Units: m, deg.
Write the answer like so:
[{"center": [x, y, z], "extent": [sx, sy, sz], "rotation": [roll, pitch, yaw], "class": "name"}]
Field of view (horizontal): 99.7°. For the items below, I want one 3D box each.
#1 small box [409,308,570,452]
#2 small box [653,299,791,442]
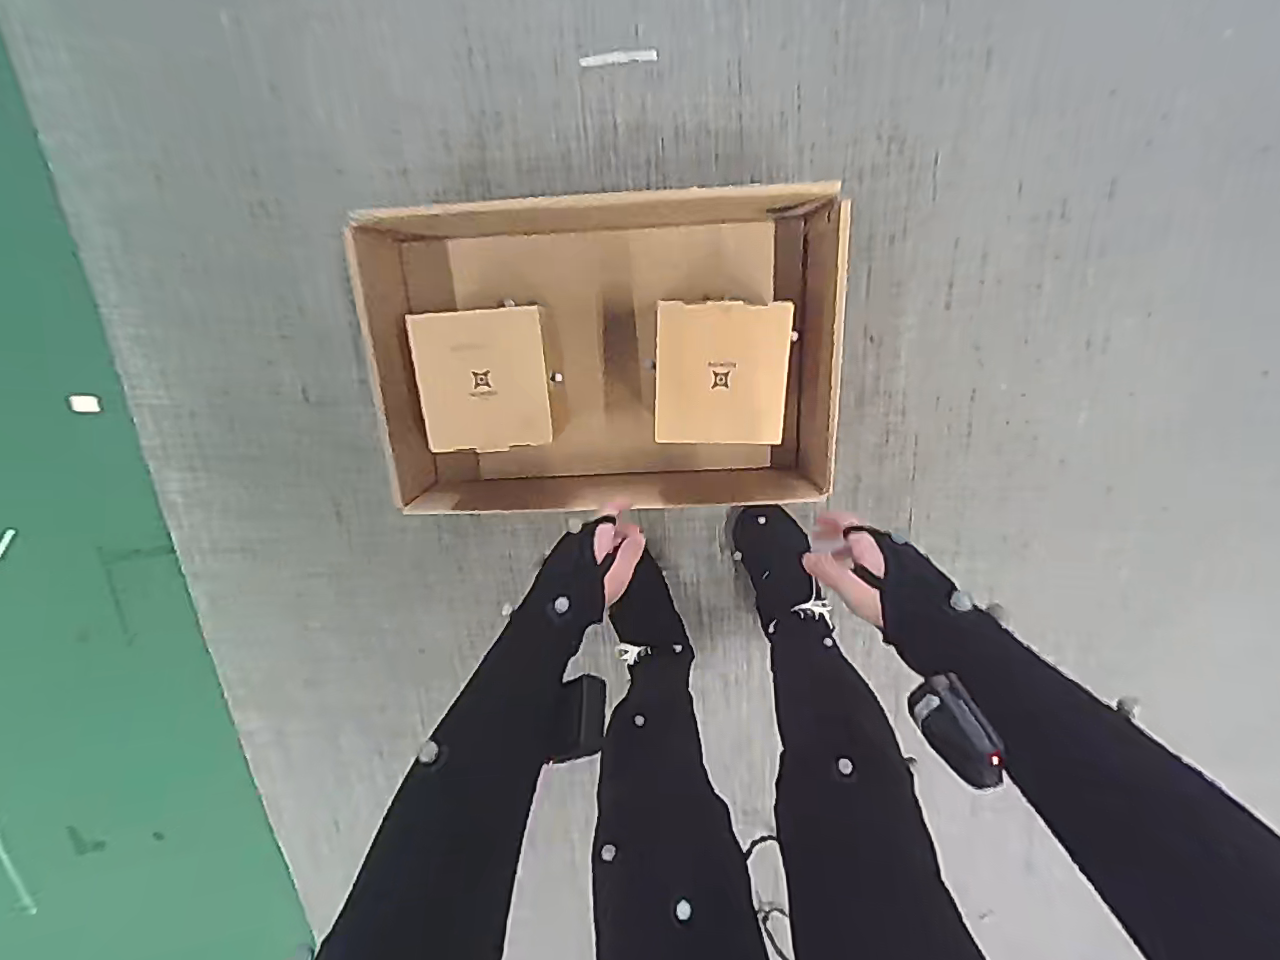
[{"center": [-0.197, -0.147, 0.762], "extent": [0.168, 0.176, 0.179], "rotation": [-4, 106, 2], "class": "small box"}, {"center": [0.103, -0.157, 0.748], "extent": [0.168, 0.176, 0.179], "rotation": [0, 107, 3], "class": "small box"}]
